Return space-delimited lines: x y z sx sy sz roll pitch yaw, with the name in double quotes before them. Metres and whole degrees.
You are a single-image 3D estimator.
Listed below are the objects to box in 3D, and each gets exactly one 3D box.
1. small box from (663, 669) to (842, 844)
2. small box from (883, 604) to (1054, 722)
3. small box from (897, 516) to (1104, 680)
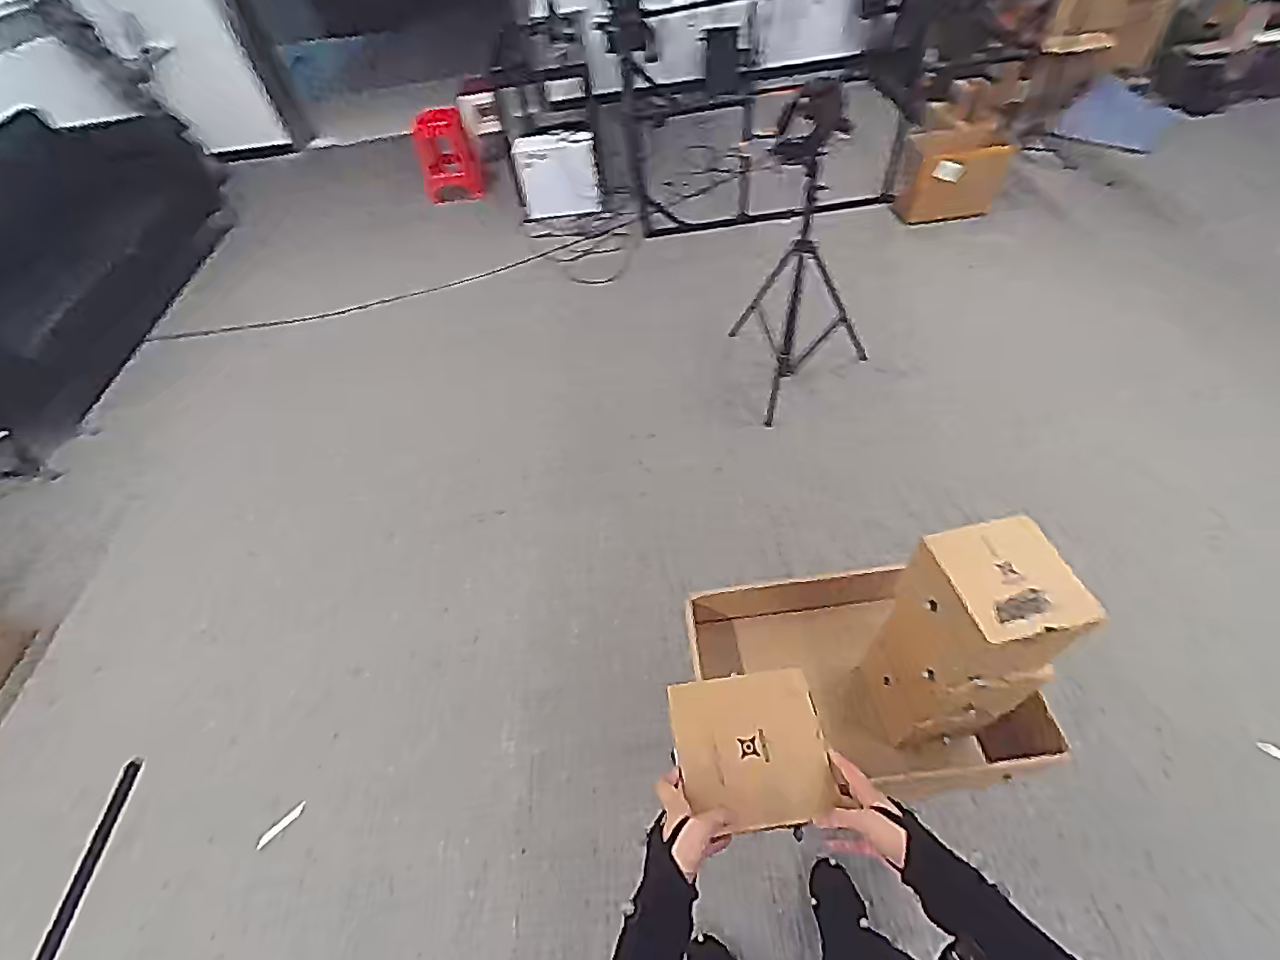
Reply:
"small box" 0.129 0.360 0.699 0.179 0.176 0.168 -8 55 -3
"small box" 0.546 0.295 0.933 0.168 0.176 0.179 -10 51 0
"small box" 0.520 0.184 0.813 0.168 0.176 0.179 -12 50 -2
